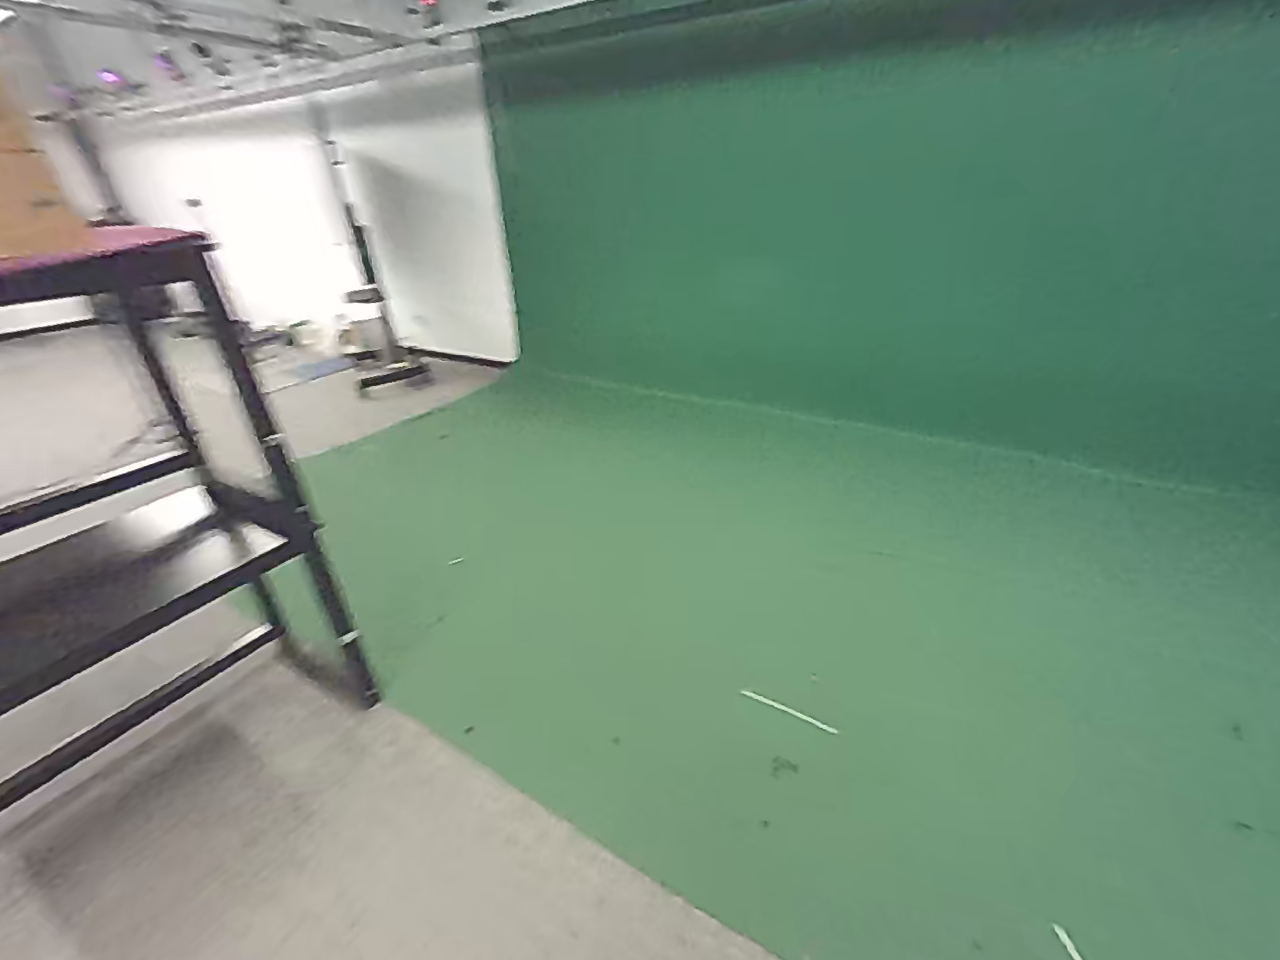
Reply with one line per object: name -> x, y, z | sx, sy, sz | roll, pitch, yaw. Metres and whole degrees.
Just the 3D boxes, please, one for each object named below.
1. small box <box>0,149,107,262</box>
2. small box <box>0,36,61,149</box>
small box -> -1.157, -0.514, 1.014 | 0.168, 0.176, 0.179 | 15, 36, 34
small box -> -1.177, -0.657, 0.938 | 0.168, 0.176, 0.179 | 17, 35, 36
